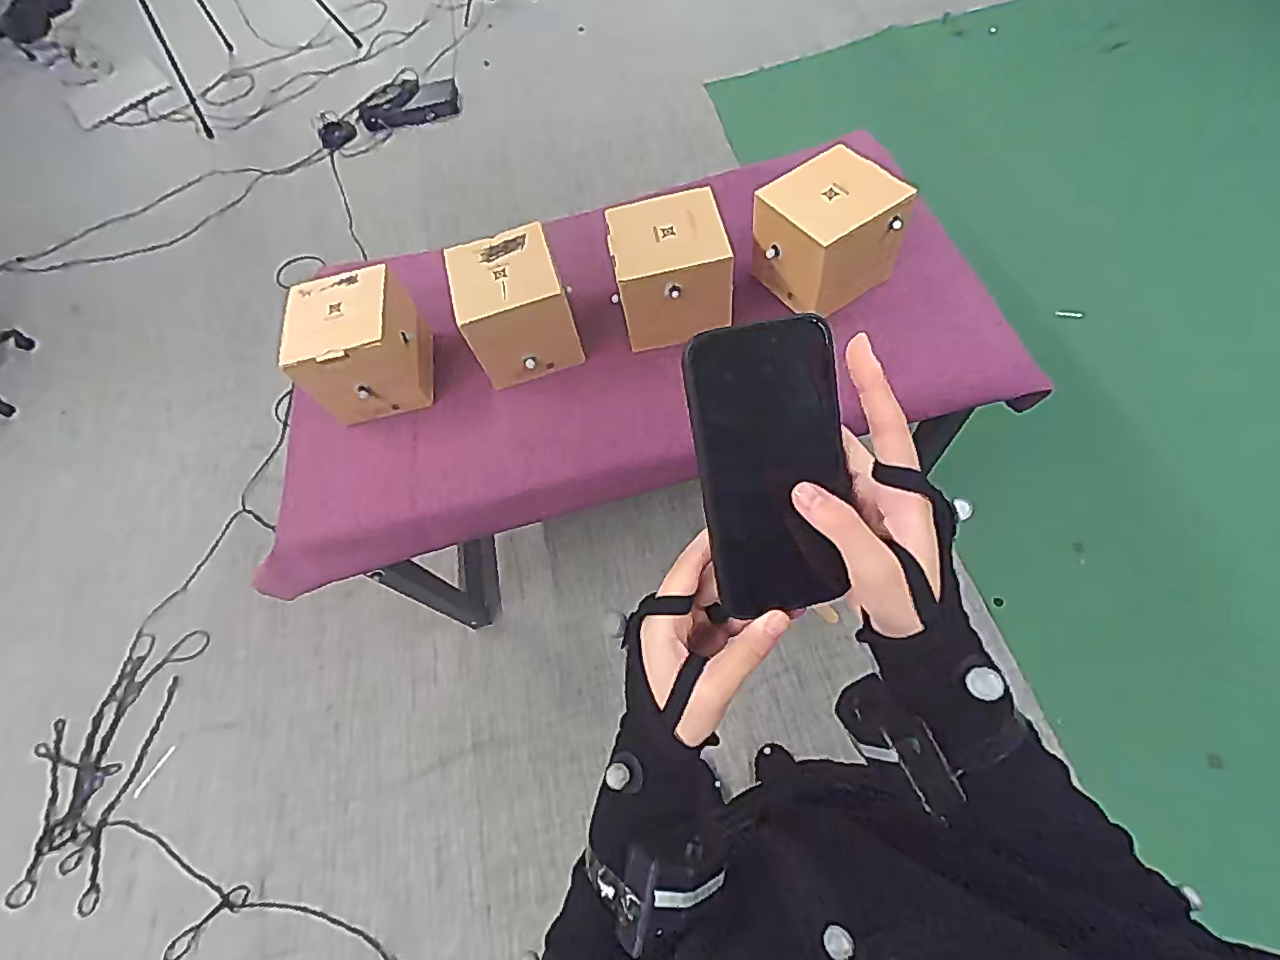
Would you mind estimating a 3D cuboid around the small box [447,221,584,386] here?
[{"bbox_3d":[-0.205,-0.292,0.912,0.168,0.176,0.179,-18,63,0],"label":"small box"}]

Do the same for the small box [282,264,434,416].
[{"bbox_3d":[-0.466,-0.227,0.921,0.168,0.176,0.179,-13,63,2],"label":"small box"}]

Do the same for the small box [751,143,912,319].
[{"bbox_3d":[0.301,-0.400,0.888,0.179,0.176,0.168,-32,62,-8],"label":"small box"}]

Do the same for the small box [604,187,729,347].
[{"bbox_3d":[0.048,-0.345,0.901,0.179,0.176,0.168,-11,63,3],"label":"small box"}]
